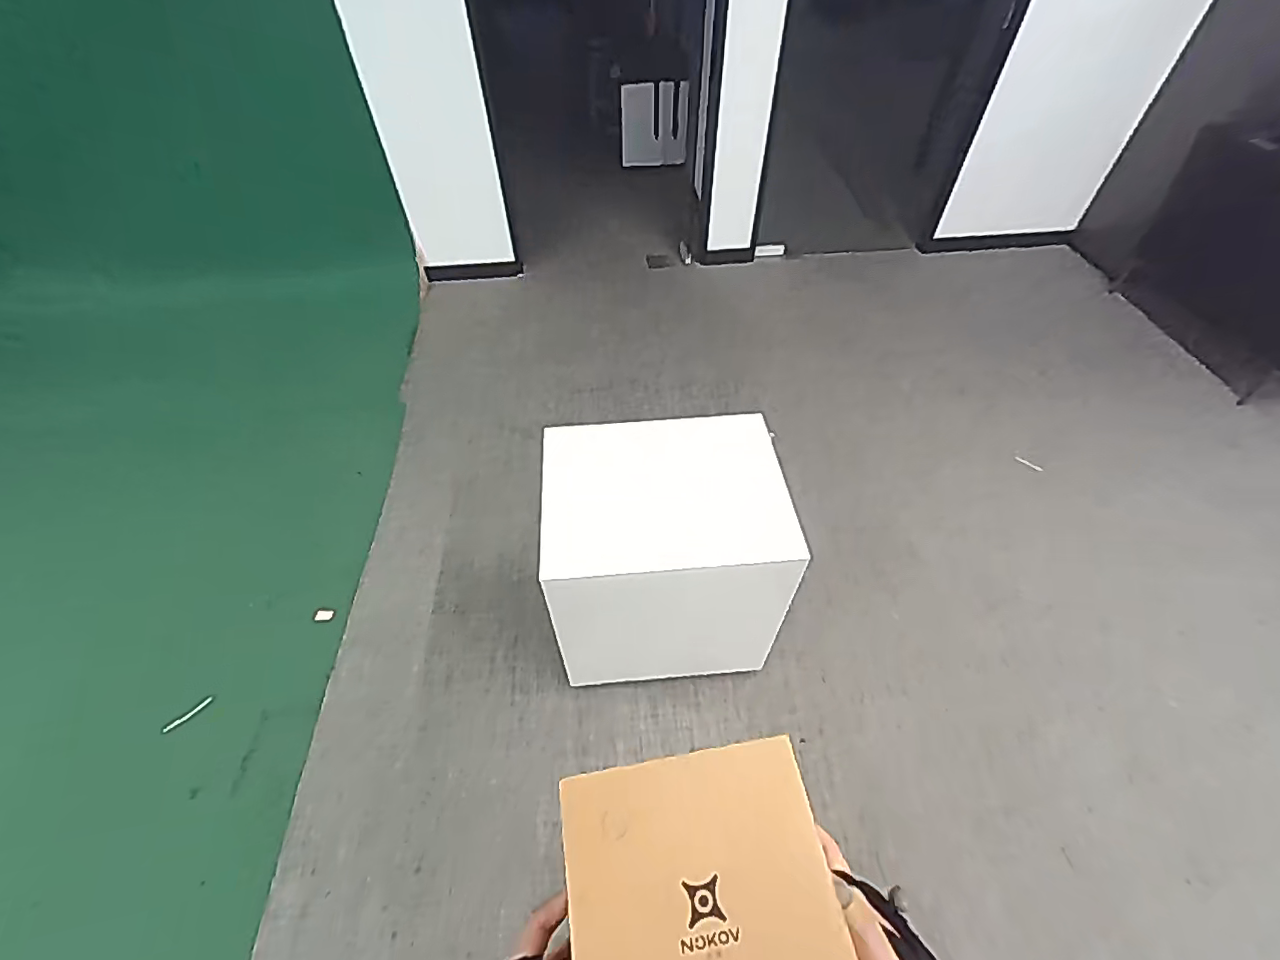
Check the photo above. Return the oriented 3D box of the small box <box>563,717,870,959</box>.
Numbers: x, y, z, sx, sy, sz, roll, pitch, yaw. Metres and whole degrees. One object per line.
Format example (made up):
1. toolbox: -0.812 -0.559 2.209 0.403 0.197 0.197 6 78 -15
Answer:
1. small box: 0.042 0.293 0.385 0.168 0.176 0.179 -9 54 -5
